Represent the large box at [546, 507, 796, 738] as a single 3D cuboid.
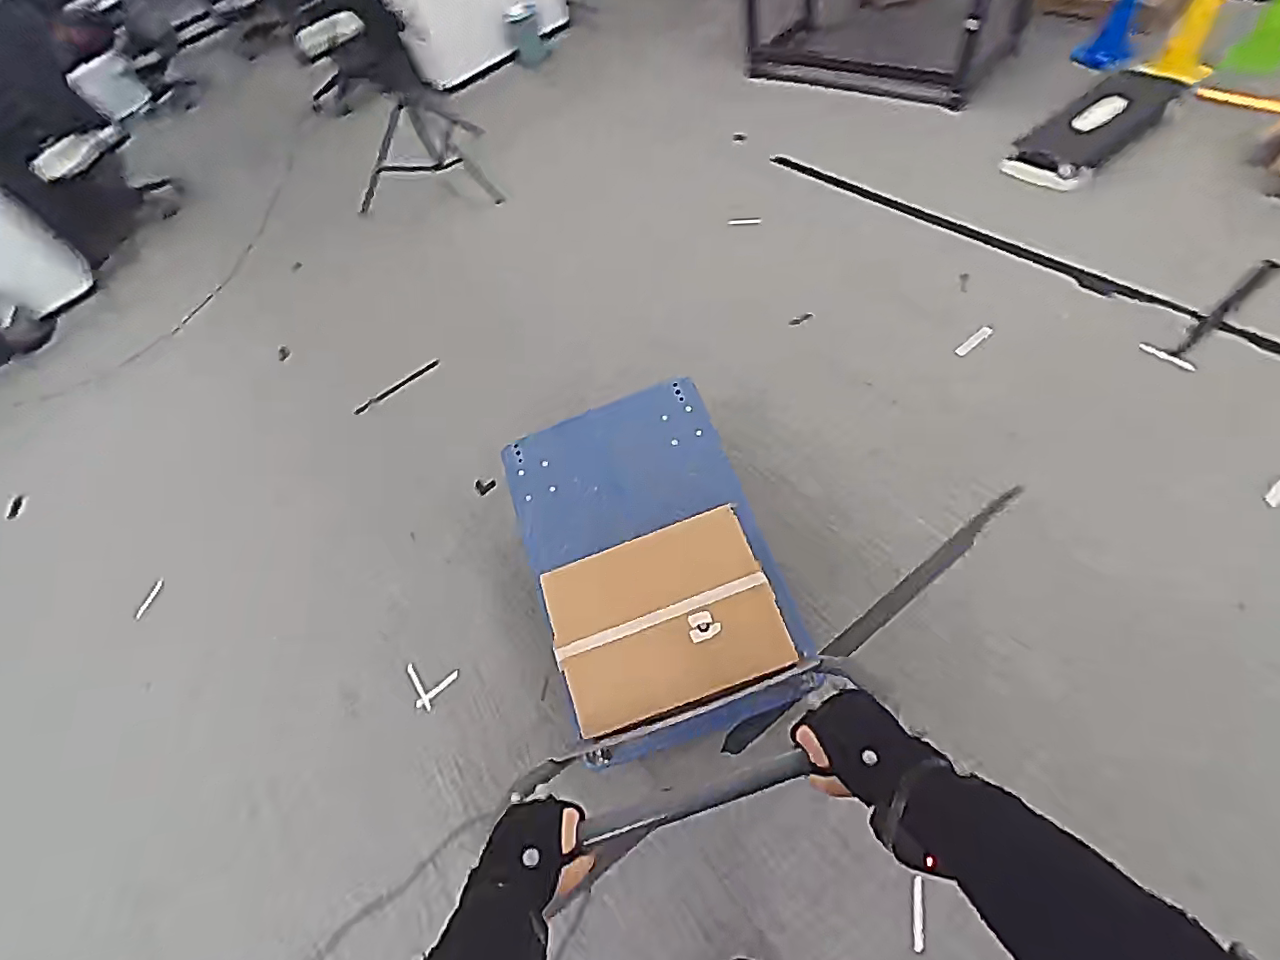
[{"bbox_3d":[0.065,0.311,1.151,0.408,0.320,0.320,-21,68,0],"label":"large box"}]
